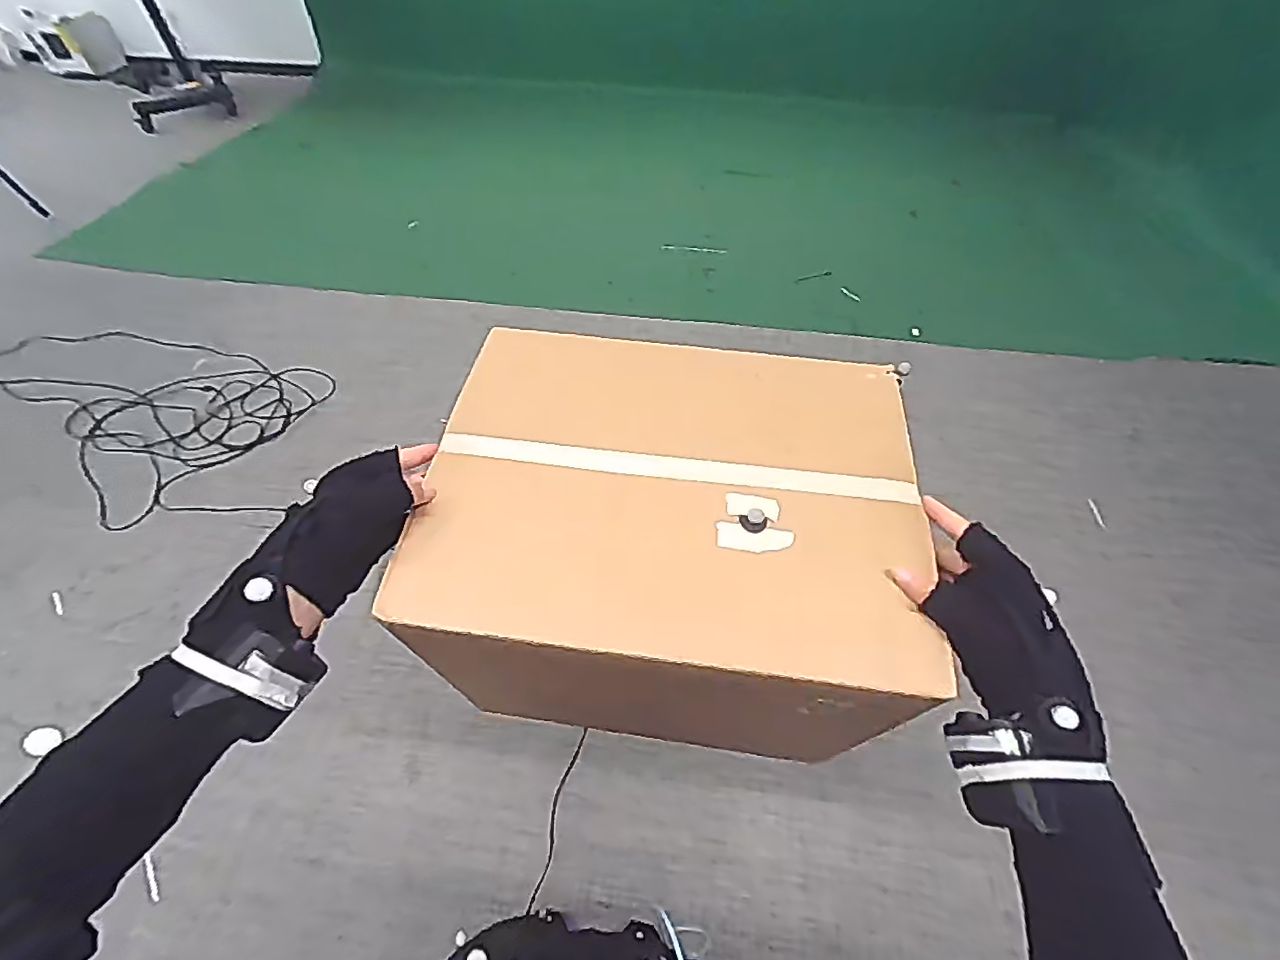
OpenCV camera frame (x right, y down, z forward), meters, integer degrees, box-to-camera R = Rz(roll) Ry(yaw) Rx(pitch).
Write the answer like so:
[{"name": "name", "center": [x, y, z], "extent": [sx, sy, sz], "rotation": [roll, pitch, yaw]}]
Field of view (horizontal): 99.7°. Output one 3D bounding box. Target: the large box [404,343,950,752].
[{"name": "large box", "center": [0.034, 0.084, 0.592], "extent": [0.408, 0.320, 0.320], "rotation": [7, 56, 3]}]
